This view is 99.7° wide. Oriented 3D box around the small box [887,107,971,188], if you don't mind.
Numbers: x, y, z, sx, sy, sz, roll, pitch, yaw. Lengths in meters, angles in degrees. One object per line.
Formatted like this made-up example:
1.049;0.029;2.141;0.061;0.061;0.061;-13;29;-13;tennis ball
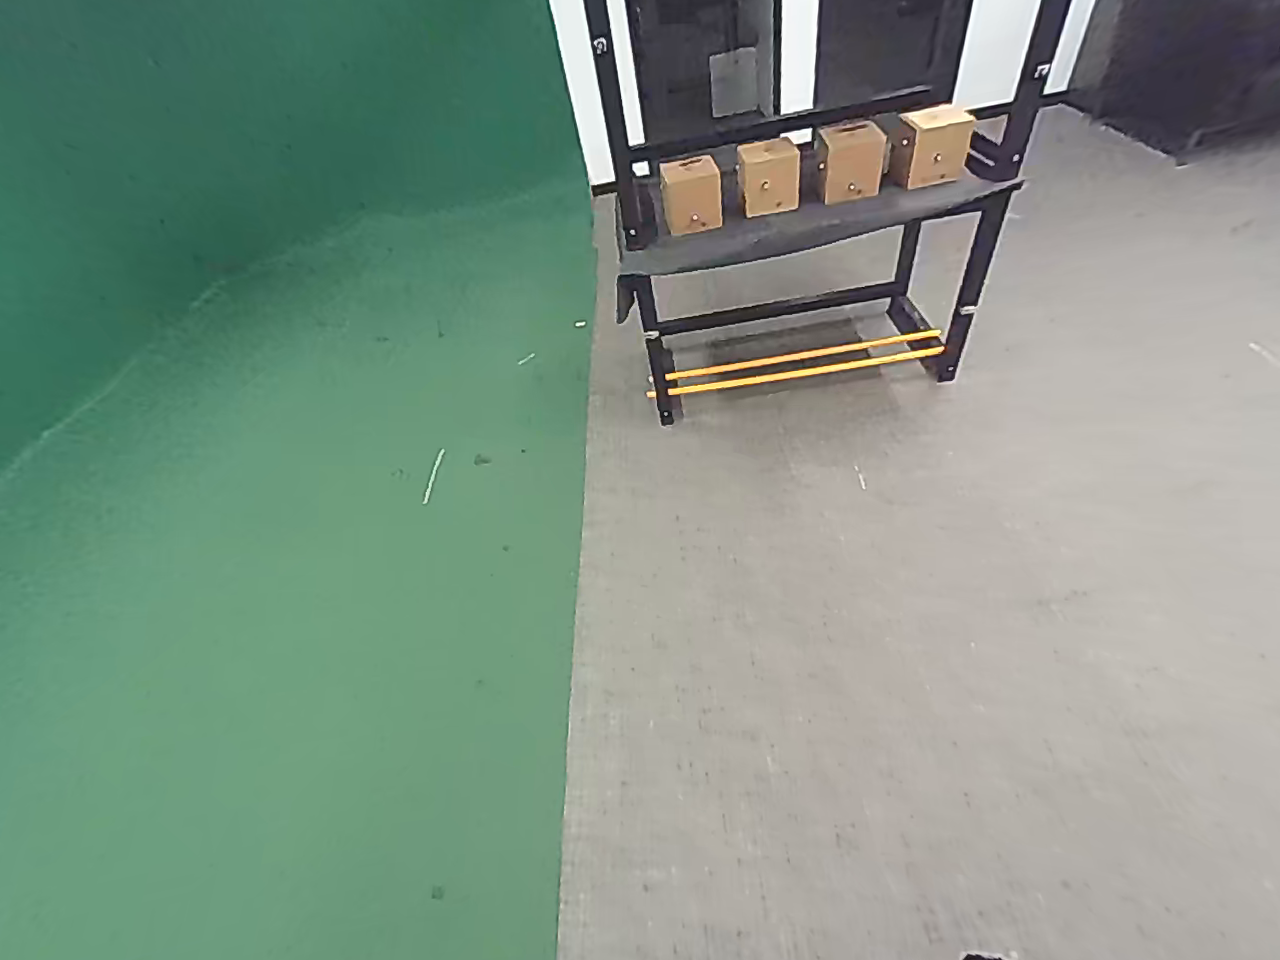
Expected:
0.895;-1.034;1.692;0.168;0.176;0.179;-8;45;5;small box

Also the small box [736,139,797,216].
0.409;-0.973;1.752;0.168;0.176;0.179;-8;46;5;small box

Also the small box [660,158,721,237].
0.163;-0.912;1.749;0.168;0.176;0.179;-11;47;3;small box
